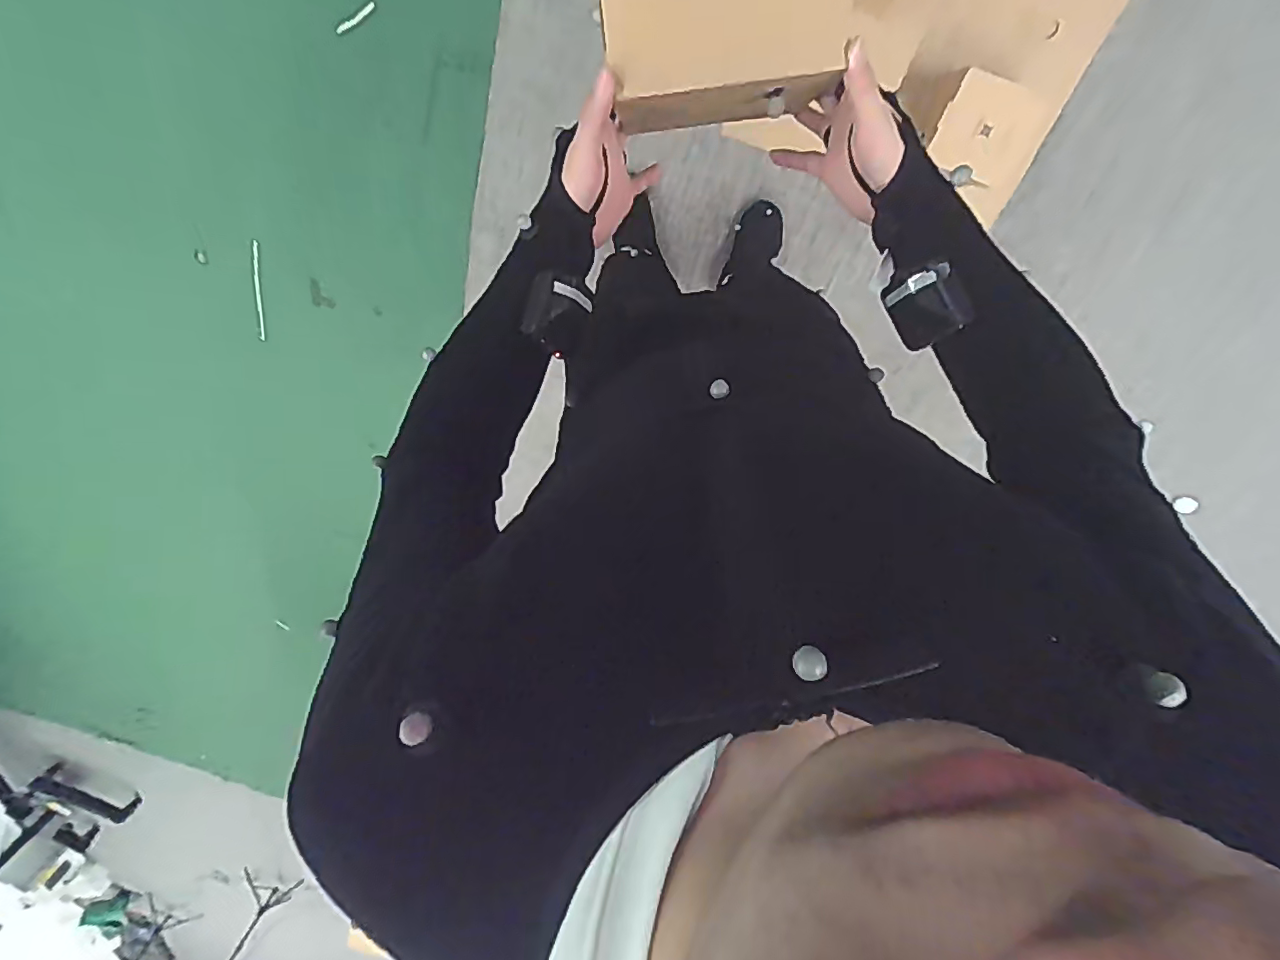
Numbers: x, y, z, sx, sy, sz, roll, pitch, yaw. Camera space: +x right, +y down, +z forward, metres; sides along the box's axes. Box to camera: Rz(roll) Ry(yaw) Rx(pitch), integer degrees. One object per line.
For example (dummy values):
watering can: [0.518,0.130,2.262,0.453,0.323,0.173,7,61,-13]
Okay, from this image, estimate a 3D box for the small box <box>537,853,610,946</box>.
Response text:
small box: [-0.205,1.309,1.697,0.179,0.176,0.168,16,122,-1]

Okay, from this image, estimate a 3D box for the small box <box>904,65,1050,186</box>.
small box: [0.696,-0.741,1.145,0.179,0.176,0.168,20,122,-2]

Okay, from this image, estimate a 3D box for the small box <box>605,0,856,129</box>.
small box: [0.062,-0.396,0.432,0.179,0.176,0.168,-4,115,5]
